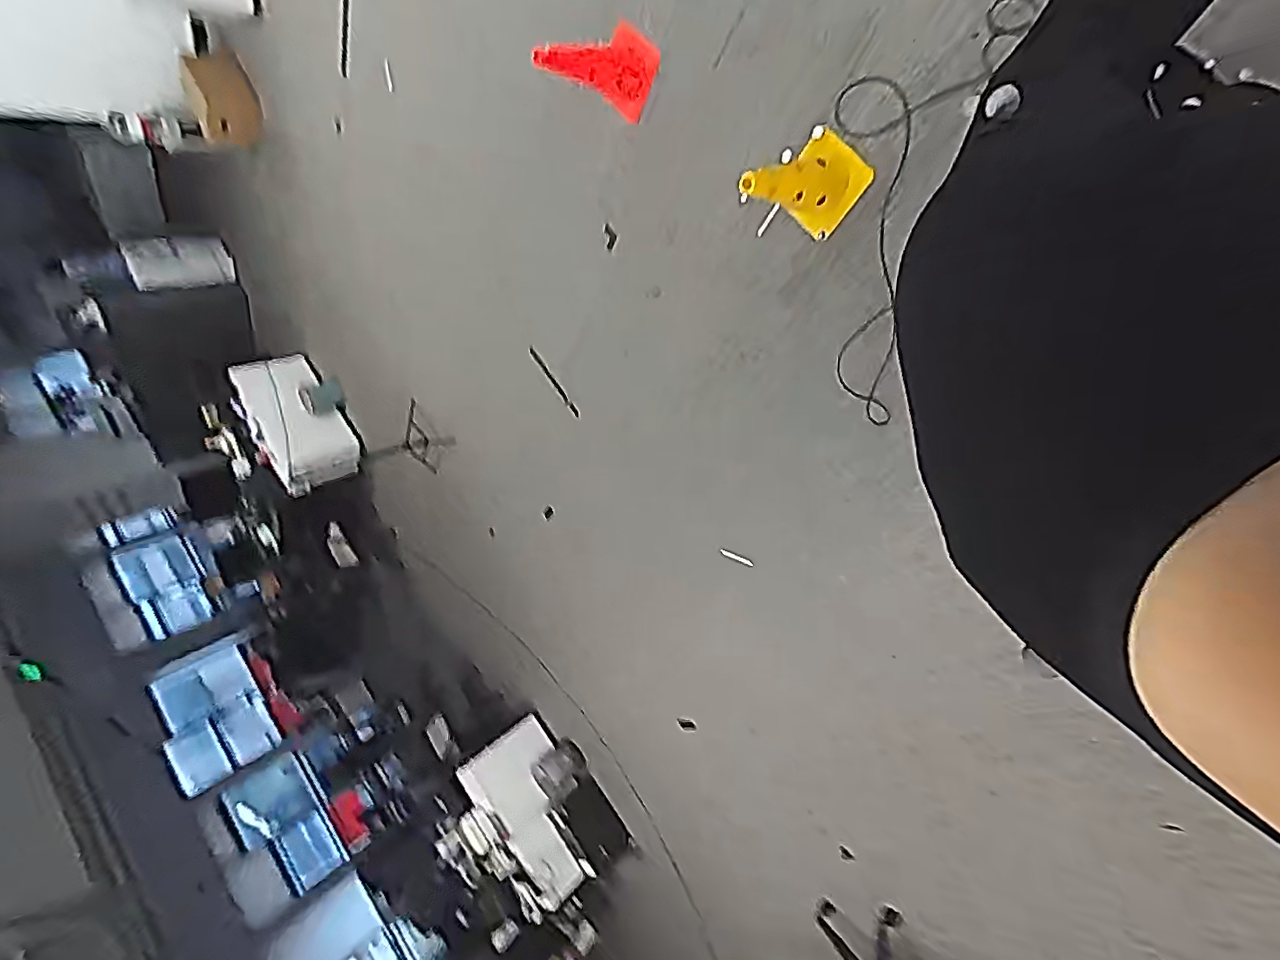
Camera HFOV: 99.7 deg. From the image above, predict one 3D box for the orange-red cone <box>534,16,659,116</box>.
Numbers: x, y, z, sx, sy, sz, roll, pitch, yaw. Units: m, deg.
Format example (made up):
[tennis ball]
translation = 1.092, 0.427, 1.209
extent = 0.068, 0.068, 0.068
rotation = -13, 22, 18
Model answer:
[orange-red cone]
translation = -0.149, -1.196, 1.541
extent = 0.199, 0.360, 0.198
rotation = 50, 139, 12
